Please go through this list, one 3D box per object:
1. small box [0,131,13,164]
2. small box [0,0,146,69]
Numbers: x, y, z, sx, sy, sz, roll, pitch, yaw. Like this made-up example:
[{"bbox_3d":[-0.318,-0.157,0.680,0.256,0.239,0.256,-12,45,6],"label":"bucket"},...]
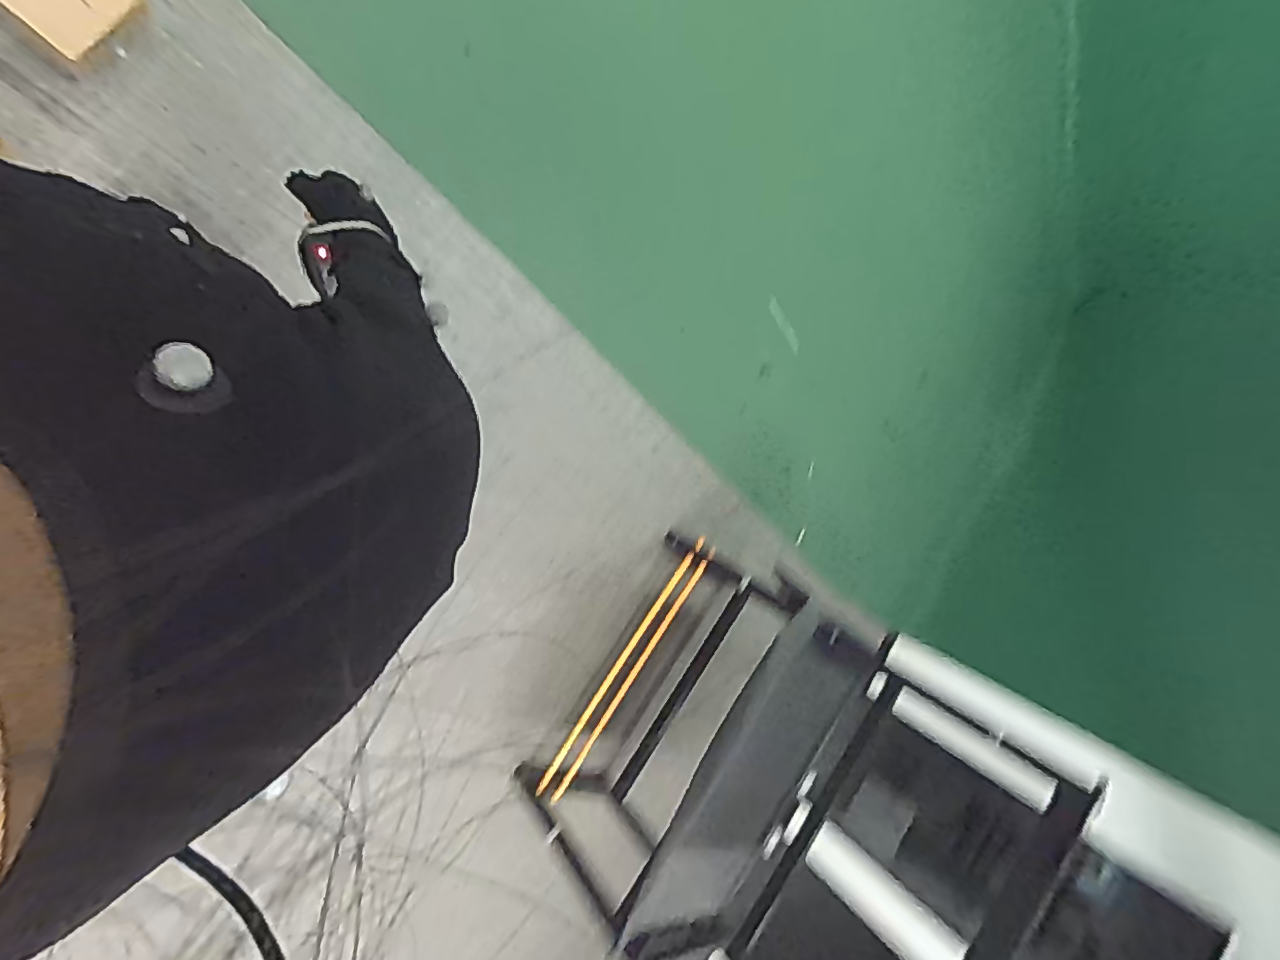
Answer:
[{"bbox_3d":[-1.094,-0.513,0.791,0.179,0.176,0.168,38,83,-43],"label":"small box"},{"bbox_3d":[-0.910,-0.781,0.826,0.168,0.176,0.179,-54,134,-8],"label":"small box"}]
